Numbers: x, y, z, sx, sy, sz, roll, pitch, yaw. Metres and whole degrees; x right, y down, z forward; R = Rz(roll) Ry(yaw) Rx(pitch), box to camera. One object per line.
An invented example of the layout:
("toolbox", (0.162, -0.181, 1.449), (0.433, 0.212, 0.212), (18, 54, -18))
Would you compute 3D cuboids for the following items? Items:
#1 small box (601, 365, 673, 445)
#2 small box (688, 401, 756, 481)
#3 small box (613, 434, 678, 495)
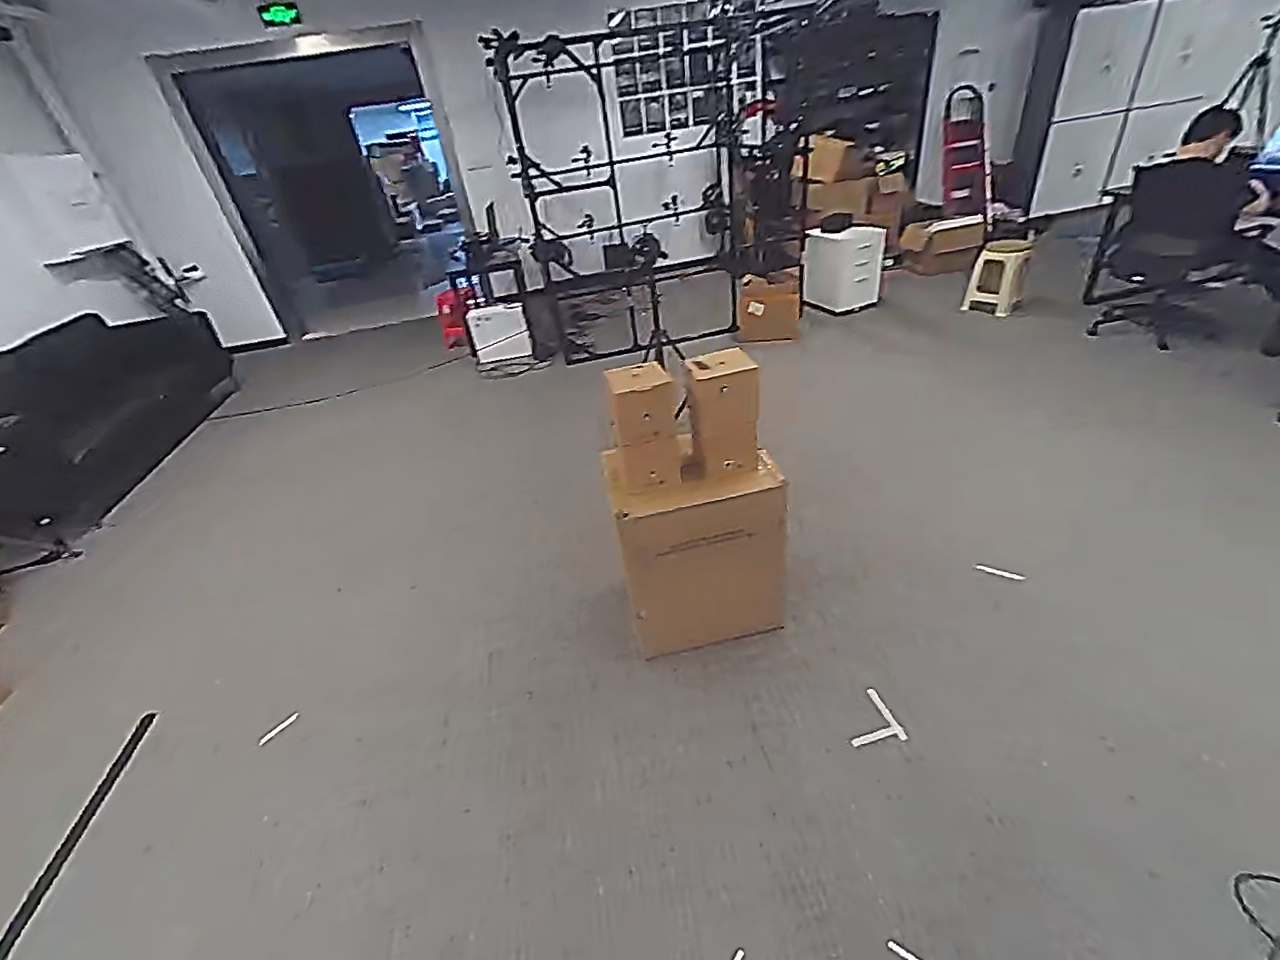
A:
("small box", (-0.007, -0.214, 1.580), (0.168, 0.176, 0.179), (-14, 34, -7))
("small box", (0.254, -0.120, 1.679), (0.168, 0.176, 0.179), (-14, 35, -3))
("small box", (0.014, -0.076, 1.668), (0.168, 0.176, 0.179), (-13, 34, -7))
